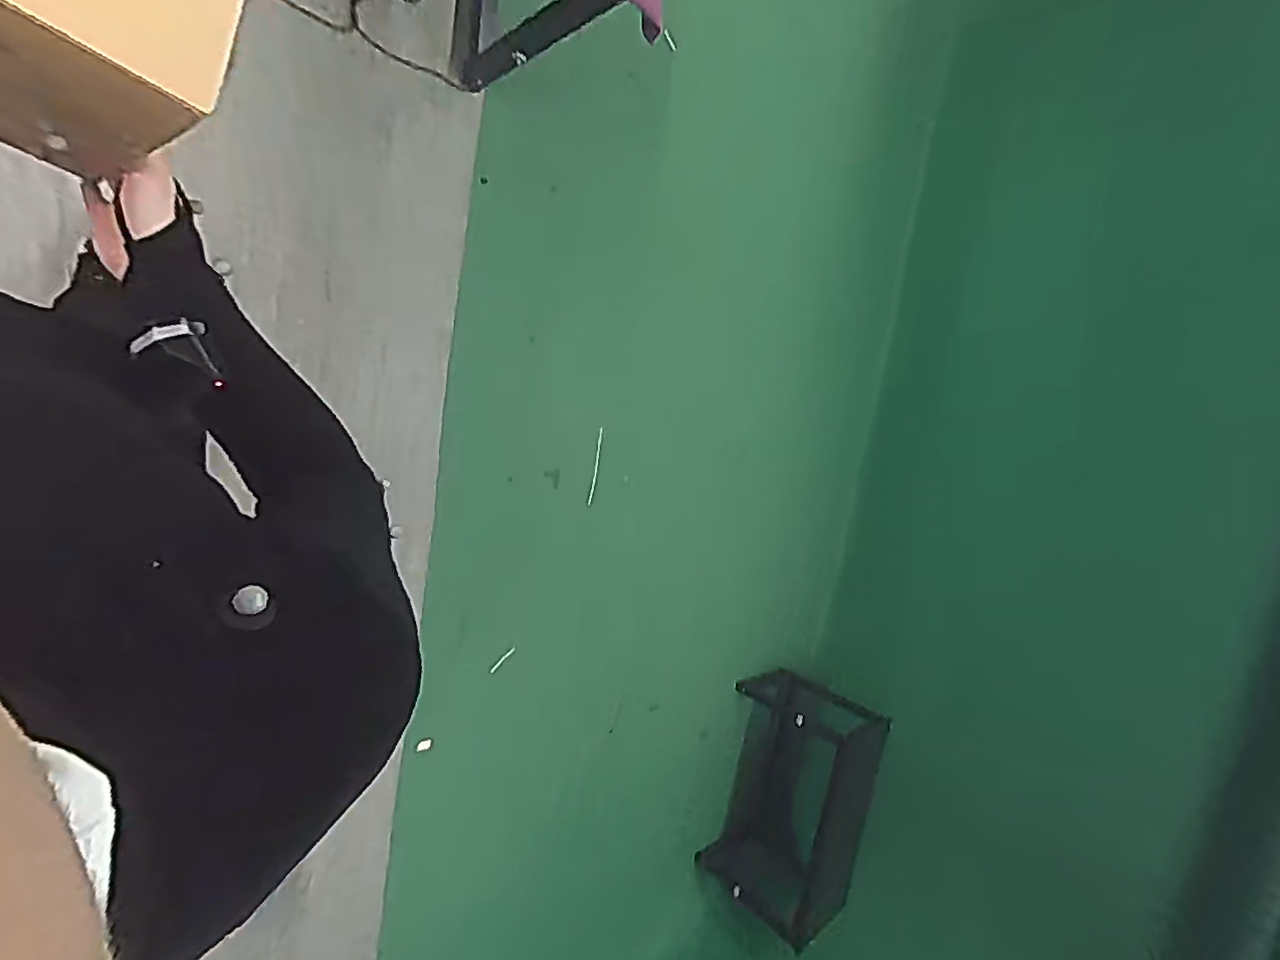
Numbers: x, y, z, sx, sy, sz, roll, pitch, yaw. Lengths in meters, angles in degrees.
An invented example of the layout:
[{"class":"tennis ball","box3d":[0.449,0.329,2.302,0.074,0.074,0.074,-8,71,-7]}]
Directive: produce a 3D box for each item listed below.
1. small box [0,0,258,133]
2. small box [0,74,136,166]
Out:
[{"class":"small box","box3d":[-0.308,-0.304,0.265,0.179,0.176,0.168,14,94,-52]},{"class":"small box","box3d":[-0.547,-0.400,0.465,0.179,0.176,0.168,17,91,-51]}]
